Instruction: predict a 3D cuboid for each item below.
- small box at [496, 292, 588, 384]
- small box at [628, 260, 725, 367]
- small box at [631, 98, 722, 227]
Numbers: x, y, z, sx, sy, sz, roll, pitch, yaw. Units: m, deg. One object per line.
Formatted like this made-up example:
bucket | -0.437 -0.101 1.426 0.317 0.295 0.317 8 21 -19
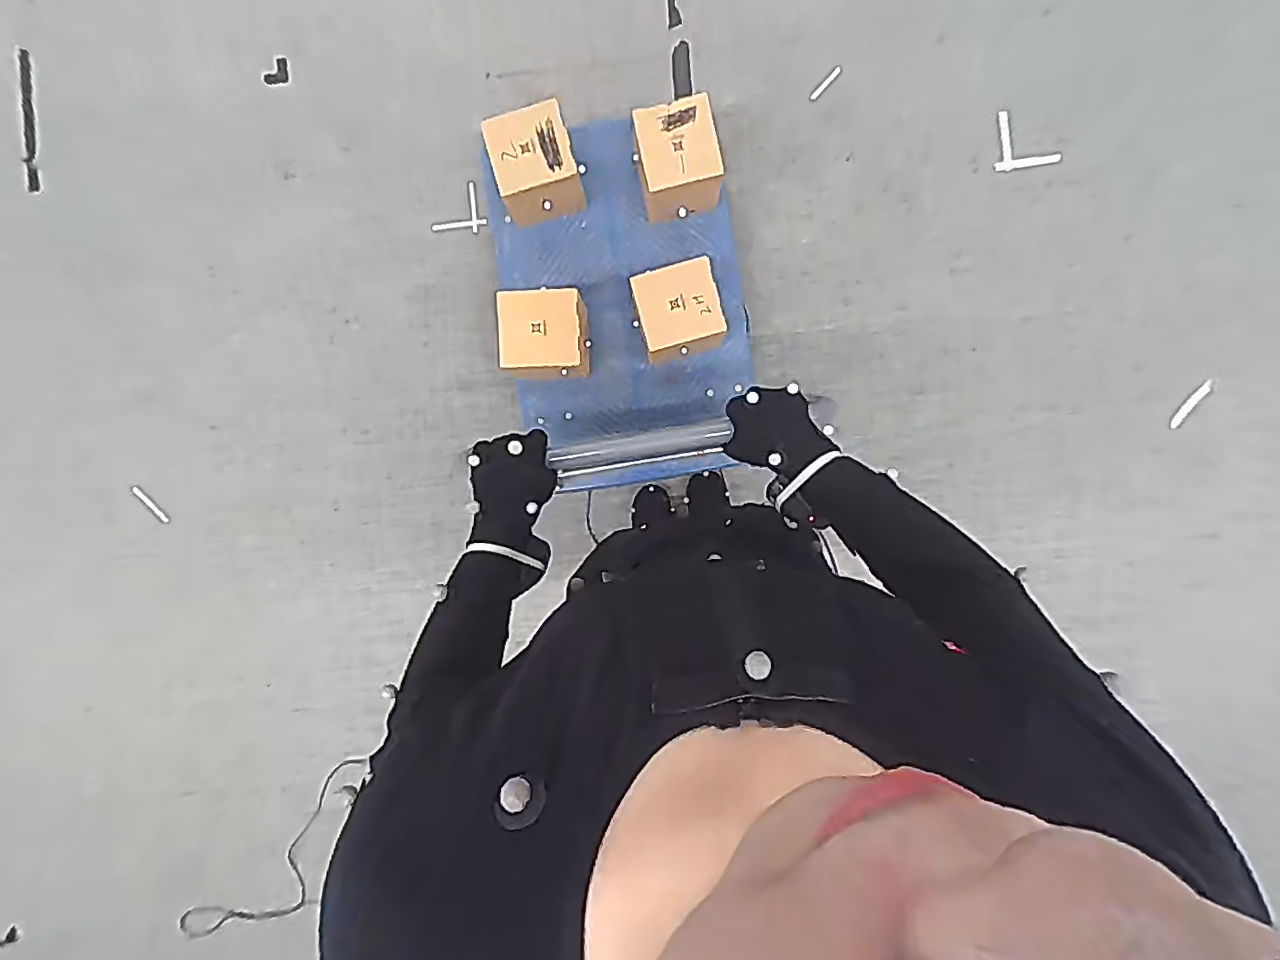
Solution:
small box | -0.219 -0.318 1.241 0.179 0.176 0.168 -3 91 0
small box | 0.082 -0.368 1.229 0.179 0.176 0.168 -16 91 2
small box | 0.078 -0.706 1.219 0.168 0.176 0.179 -13 92 2
